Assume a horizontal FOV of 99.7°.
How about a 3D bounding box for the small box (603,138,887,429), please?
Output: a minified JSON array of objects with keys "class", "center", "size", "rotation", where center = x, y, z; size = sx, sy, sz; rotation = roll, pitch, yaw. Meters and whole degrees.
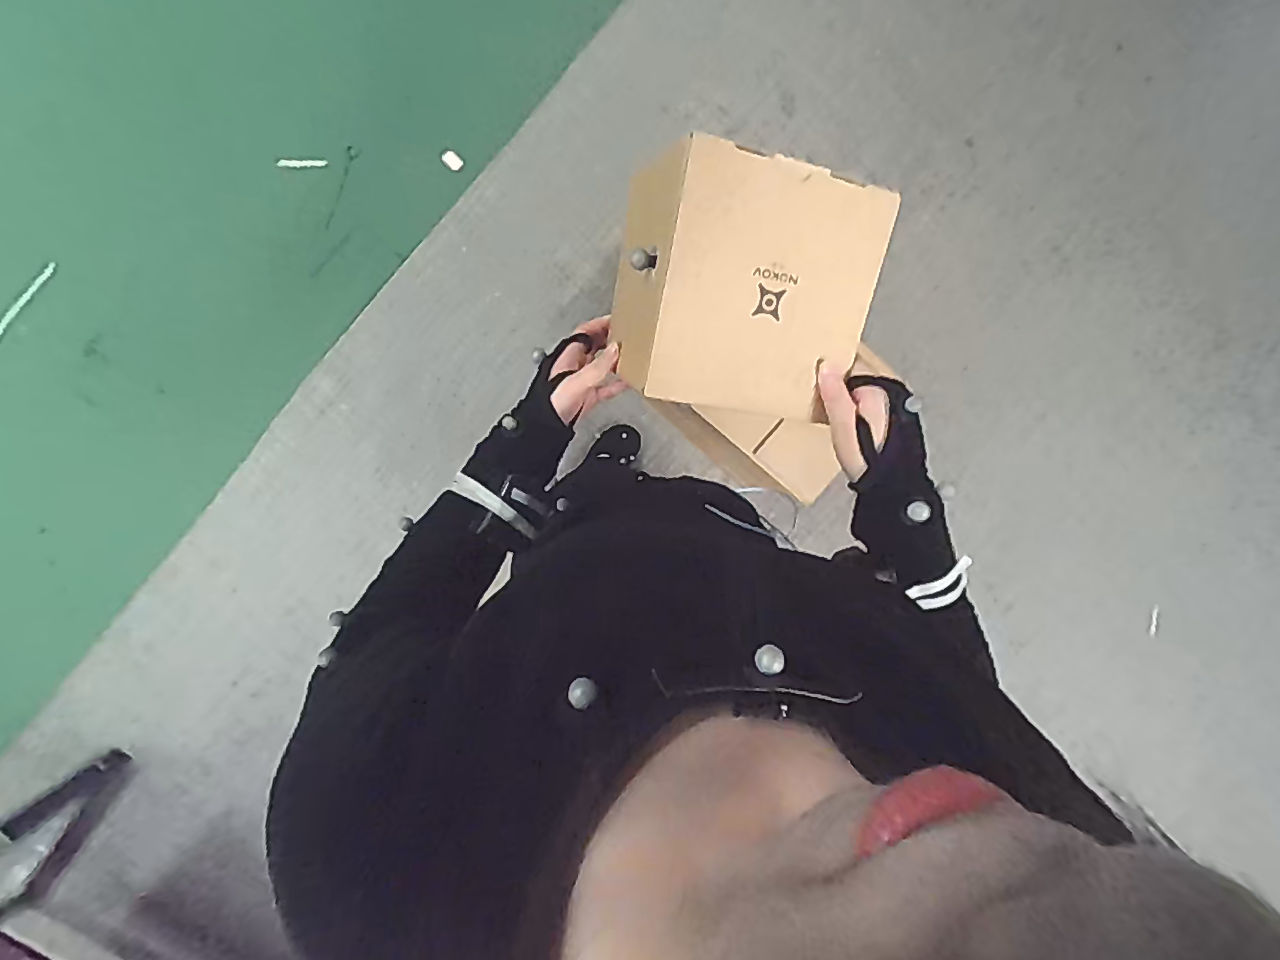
[{"class":"small box","center":[0.069,-0.158,0.469],"size":[0.168,0.176,0.179],"rotation":[6,107,-17]}]
